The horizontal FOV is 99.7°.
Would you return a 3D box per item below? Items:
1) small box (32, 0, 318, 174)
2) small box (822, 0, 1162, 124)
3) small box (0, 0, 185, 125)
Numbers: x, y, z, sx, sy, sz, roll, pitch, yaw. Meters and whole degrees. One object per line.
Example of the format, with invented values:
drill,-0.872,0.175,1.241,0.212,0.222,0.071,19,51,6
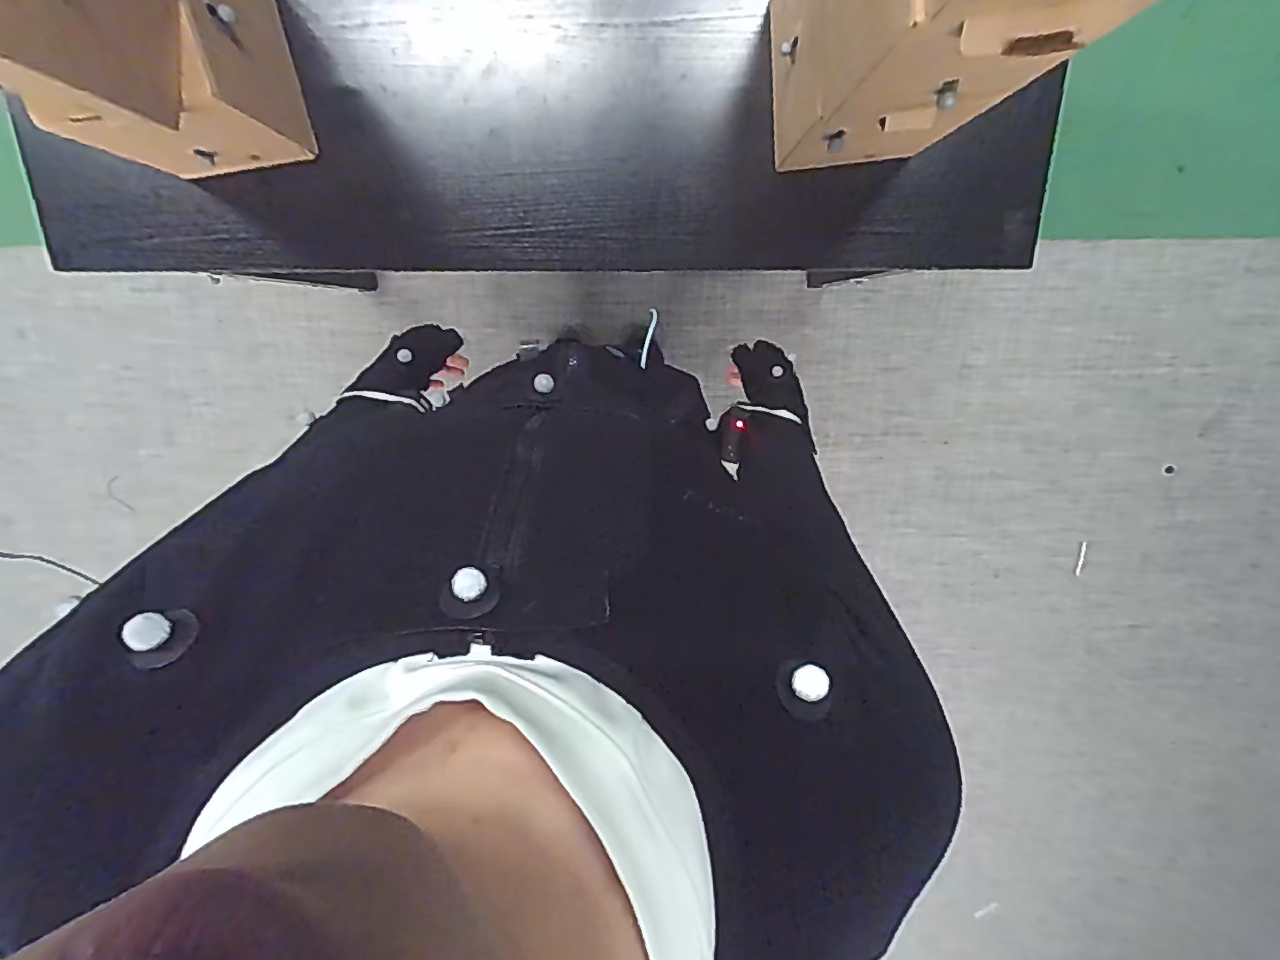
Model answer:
small box,-0.460,-0.429,0.532,0.168,0.176,0.179,-9,107,1
small box,0.235,-0.389,0.383,0.168,0.176,0.179,-8,106,2
small box,-0.461,-0.382,0.375,0.168,0.176,0.179,12,106,-5
